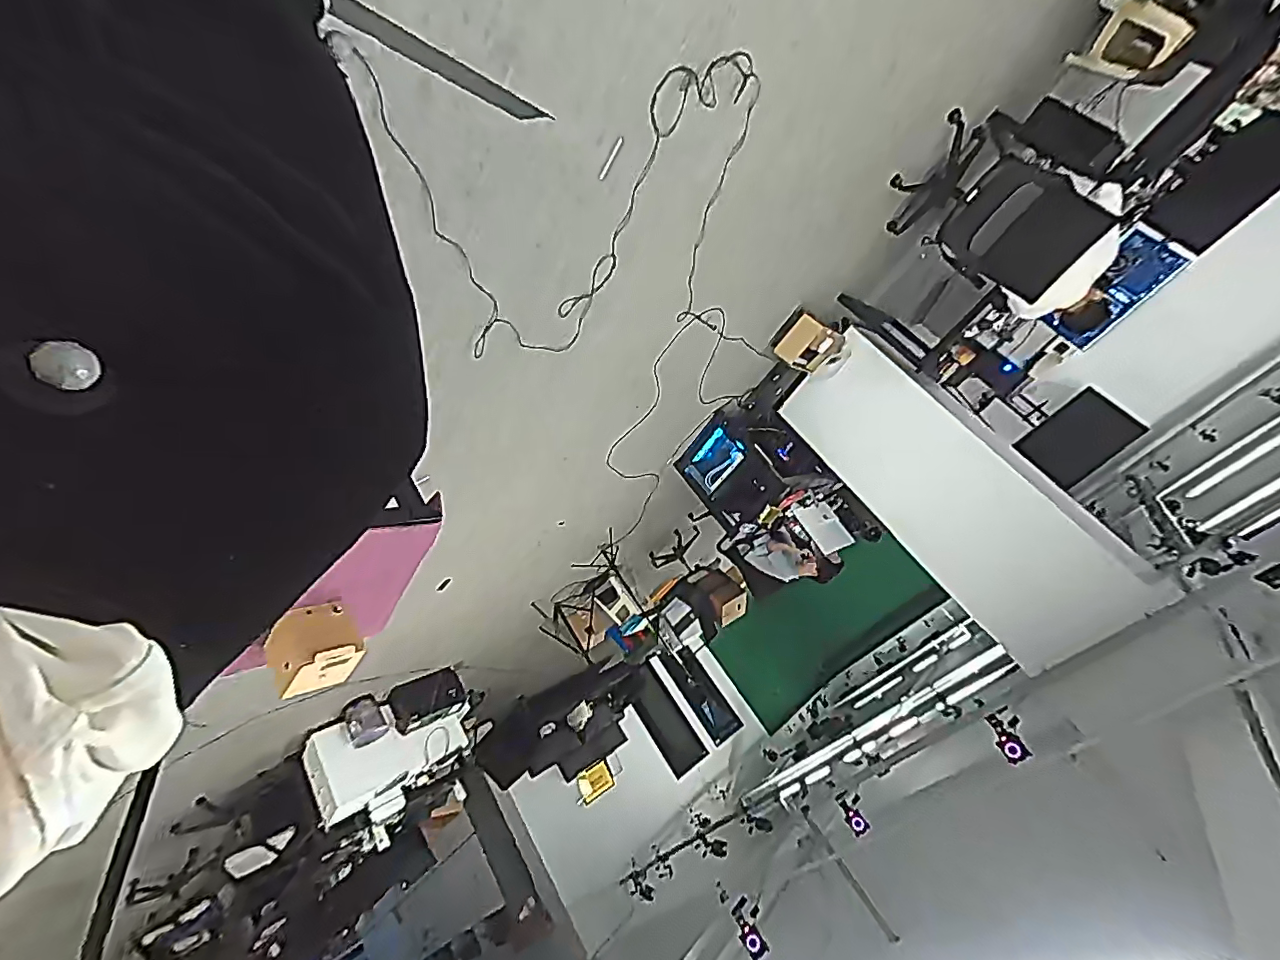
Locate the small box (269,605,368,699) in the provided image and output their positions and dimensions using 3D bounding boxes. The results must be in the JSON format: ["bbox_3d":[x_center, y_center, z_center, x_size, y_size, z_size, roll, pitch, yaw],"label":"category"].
[{"bbox_3d":[-0.889,0.460,1.487,0.179,0.176,0.168,-49,154,25],"label":"small box"}]
